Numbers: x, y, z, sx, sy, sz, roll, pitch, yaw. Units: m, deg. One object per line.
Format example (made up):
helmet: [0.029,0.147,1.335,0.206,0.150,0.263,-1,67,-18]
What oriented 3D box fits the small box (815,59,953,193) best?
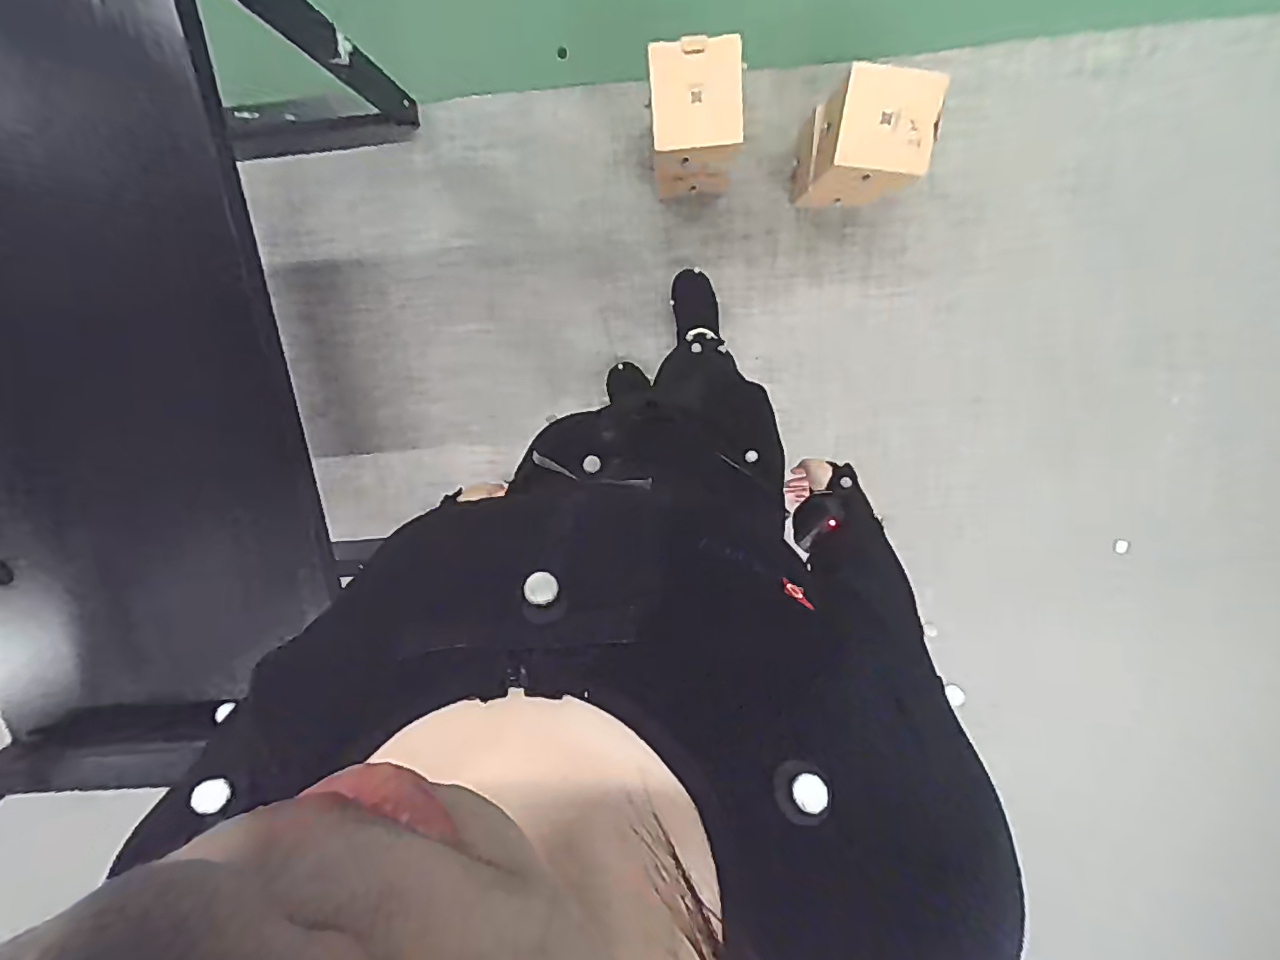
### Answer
small box: [0.452,-0.665,1.035,0.179,0.176,0.168,7,107,0]

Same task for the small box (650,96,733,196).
small box: [0.114,-0.744,1.199,0.168,0.176,0.179,-5,105,4]

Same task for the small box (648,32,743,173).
small box: [0.106,-0.709,1.040,0.168,0.176,0.179,-4,104,4]
